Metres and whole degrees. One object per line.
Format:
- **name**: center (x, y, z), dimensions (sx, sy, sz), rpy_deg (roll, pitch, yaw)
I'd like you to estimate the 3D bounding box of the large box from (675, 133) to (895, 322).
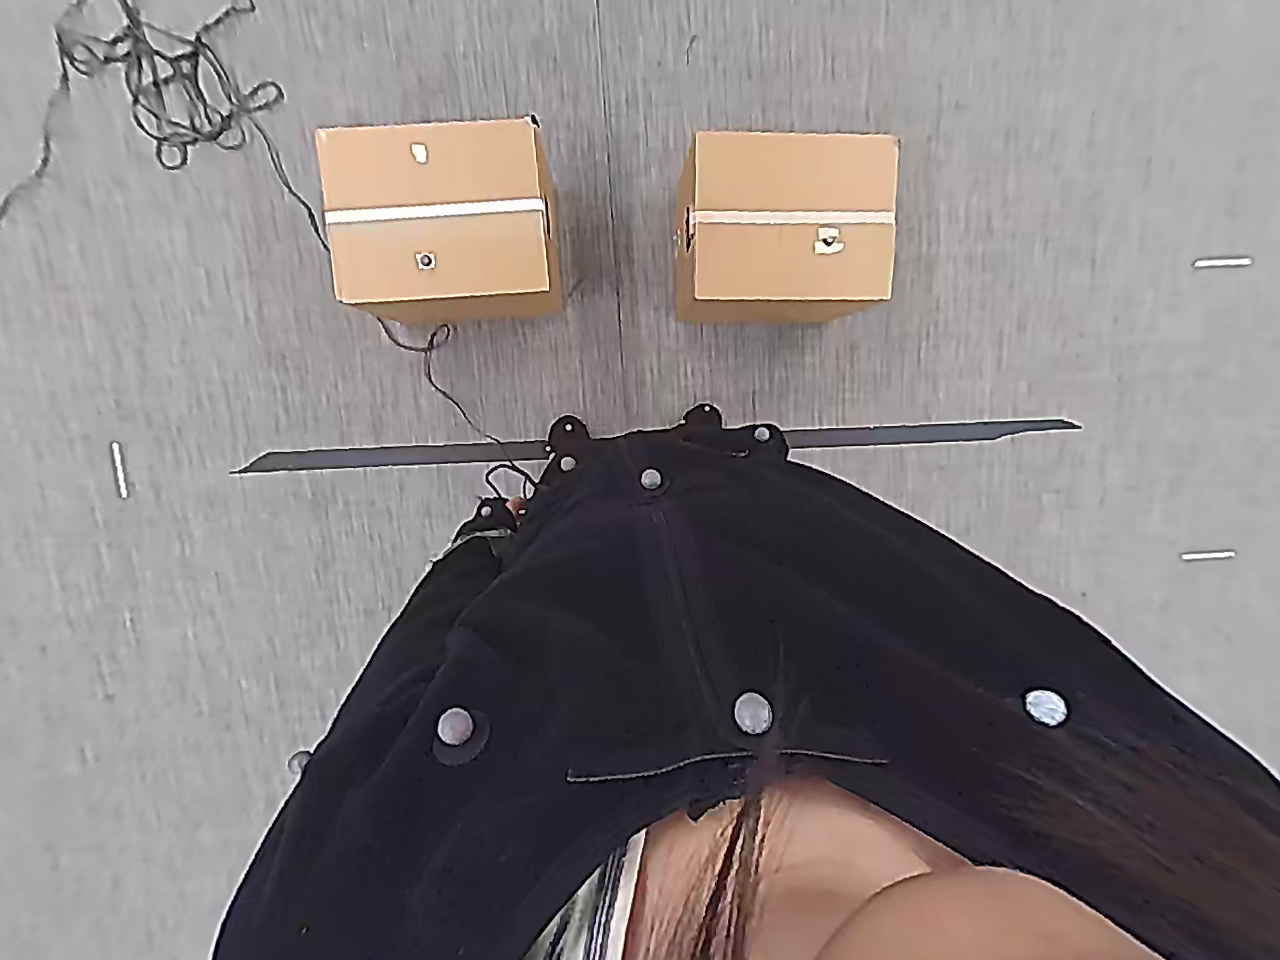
- **large box**: center (0.297, -0.542, 1.221), dimensions (0.408, 0.320, 0.320), rpy_deg (-1, 99, -4)
